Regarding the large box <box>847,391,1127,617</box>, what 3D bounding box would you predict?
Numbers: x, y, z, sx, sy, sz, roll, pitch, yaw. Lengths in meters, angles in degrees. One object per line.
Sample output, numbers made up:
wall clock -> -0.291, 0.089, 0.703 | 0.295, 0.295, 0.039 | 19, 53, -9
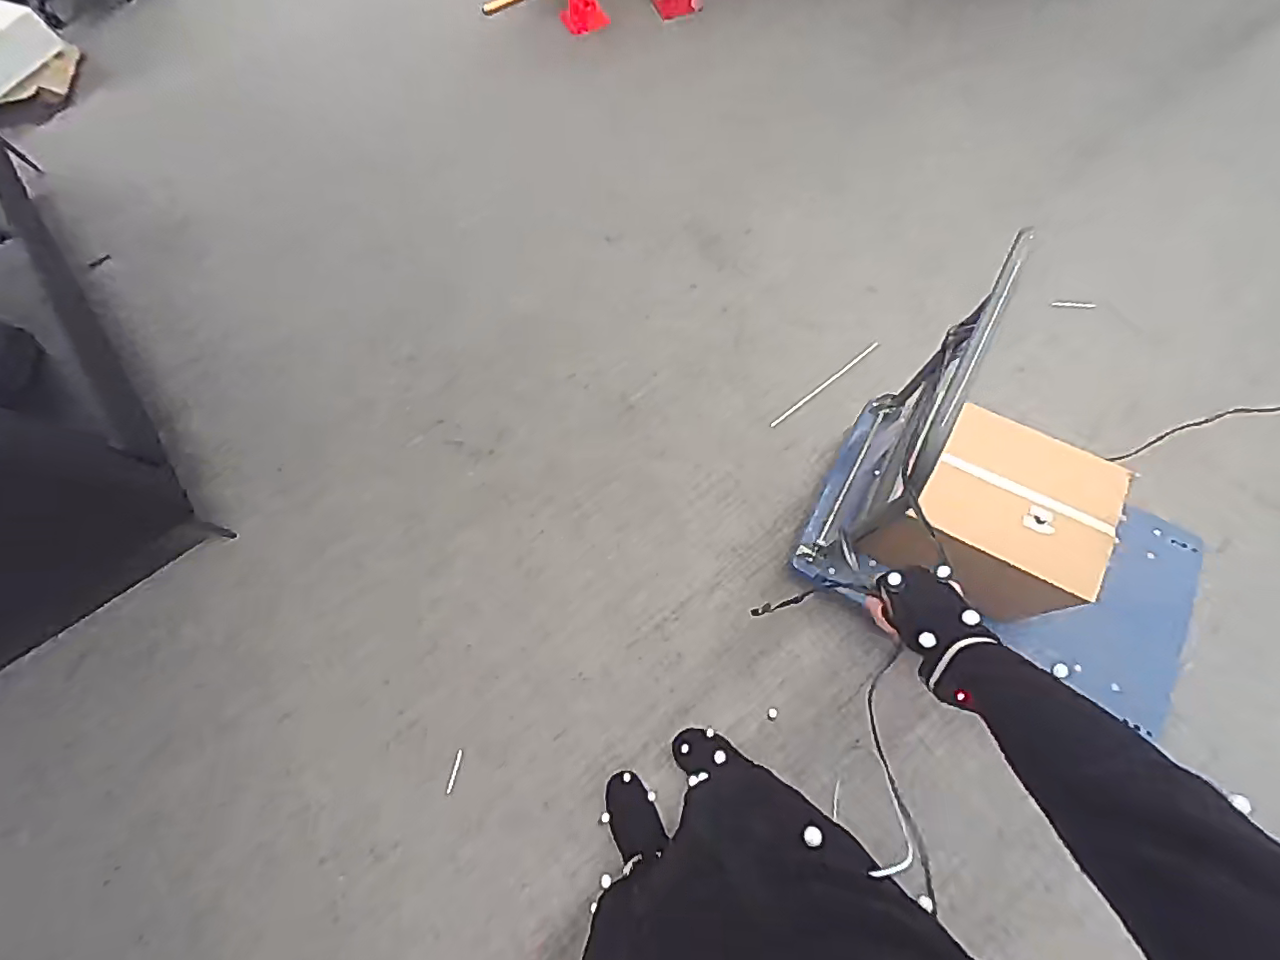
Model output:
large box -> 0.759, 0.066, 1.240 | 0.408, 0.320, 0.320 | 28, 73, 12
